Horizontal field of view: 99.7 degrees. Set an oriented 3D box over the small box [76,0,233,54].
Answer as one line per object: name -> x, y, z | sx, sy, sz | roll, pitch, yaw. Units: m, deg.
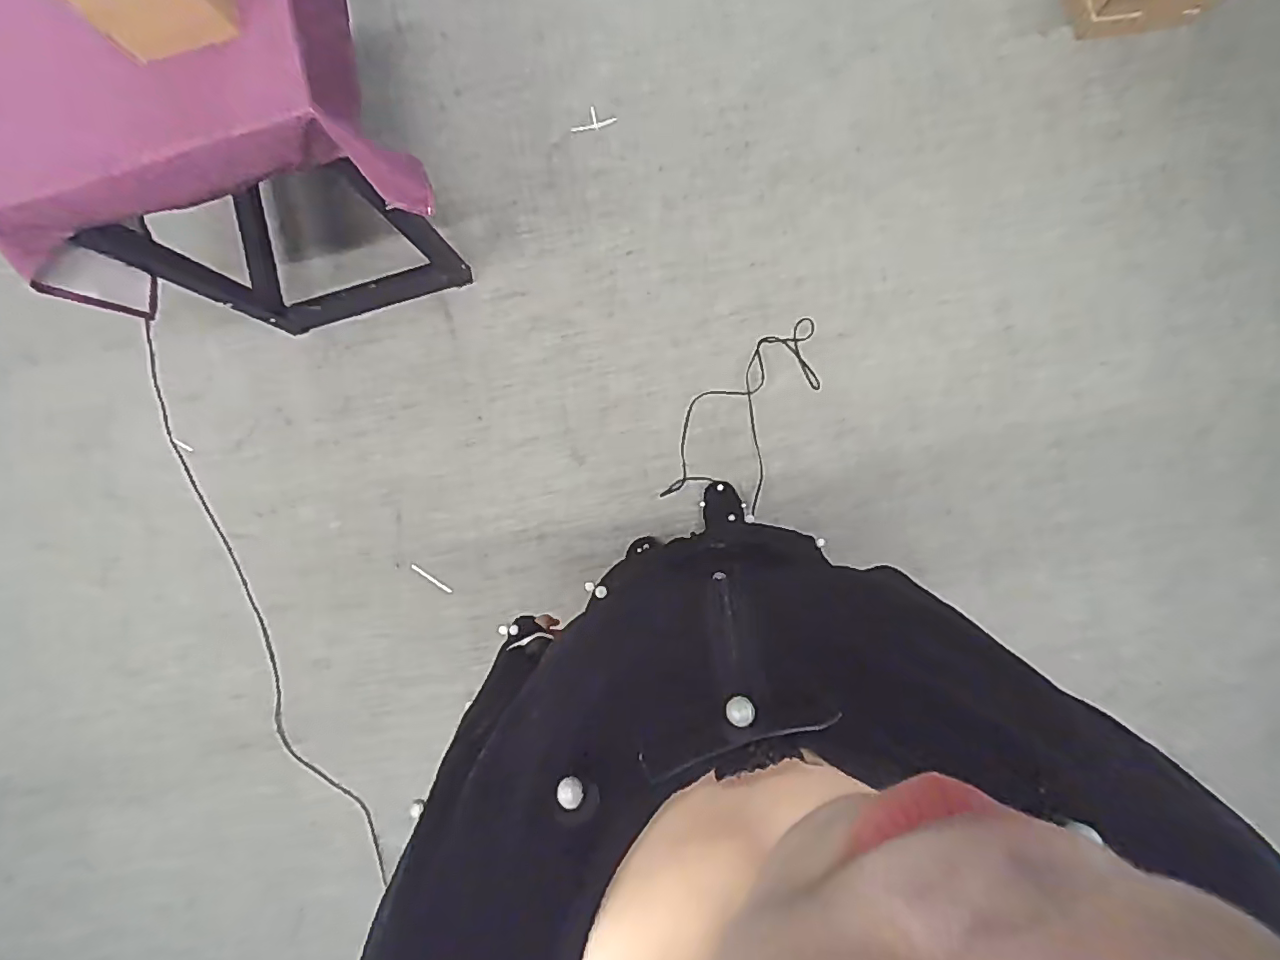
small box -> -0.739, -0.782, 0.791 | 0.179, 0.176, 0.168 | -11, 87, 4
